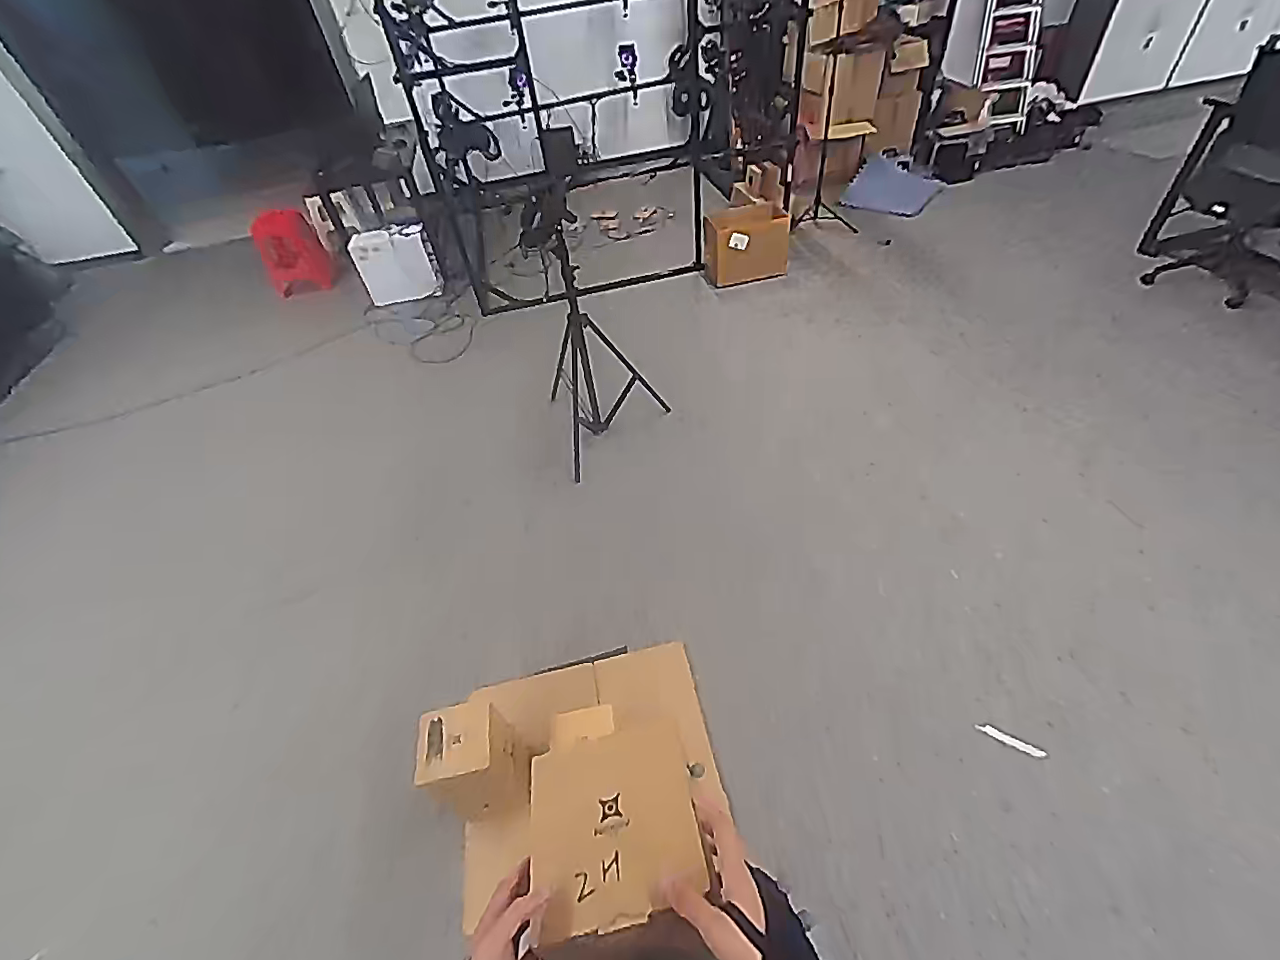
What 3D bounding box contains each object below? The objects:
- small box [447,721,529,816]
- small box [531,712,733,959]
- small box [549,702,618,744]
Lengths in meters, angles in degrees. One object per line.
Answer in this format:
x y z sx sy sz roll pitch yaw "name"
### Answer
-0.402 0.779 1.457 0.179 0.176 0.168 -13 46 -3 "small box"
-0.009 0.392 0.582 0.168 0.176 0.179 -17 34 0 "small box"
-0.141 0.731 1.470 0.179 0.176 0.168 -11 46 -3 "small box"
